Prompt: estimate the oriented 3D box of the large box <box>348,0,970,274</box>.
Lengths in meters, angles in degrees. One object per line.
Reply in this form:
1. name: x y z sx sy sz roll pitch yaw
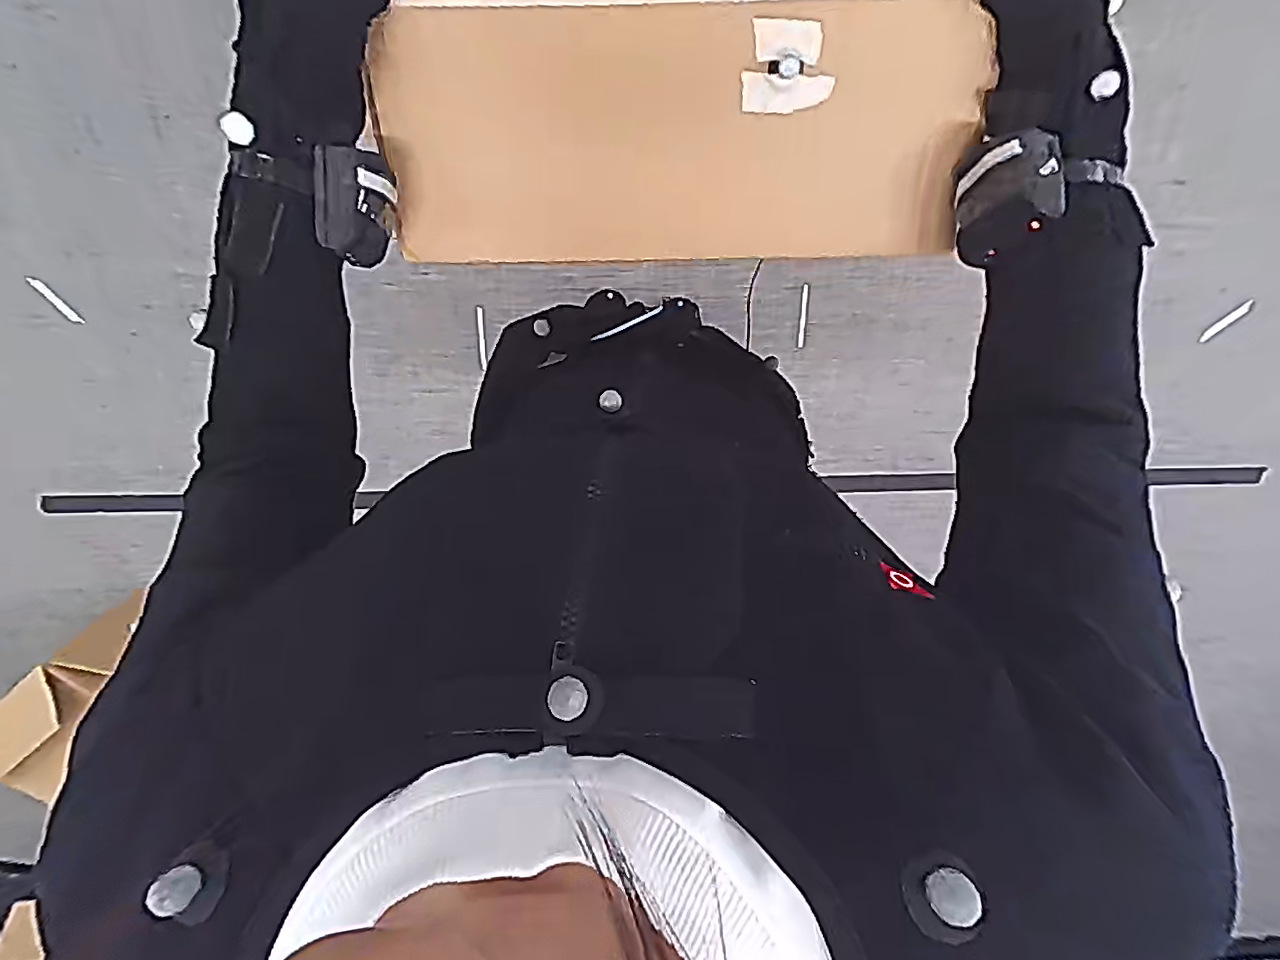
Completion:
1. large box: 0.009 -0.374 0.473 0.408 0.320 0.320 -2 119 0
